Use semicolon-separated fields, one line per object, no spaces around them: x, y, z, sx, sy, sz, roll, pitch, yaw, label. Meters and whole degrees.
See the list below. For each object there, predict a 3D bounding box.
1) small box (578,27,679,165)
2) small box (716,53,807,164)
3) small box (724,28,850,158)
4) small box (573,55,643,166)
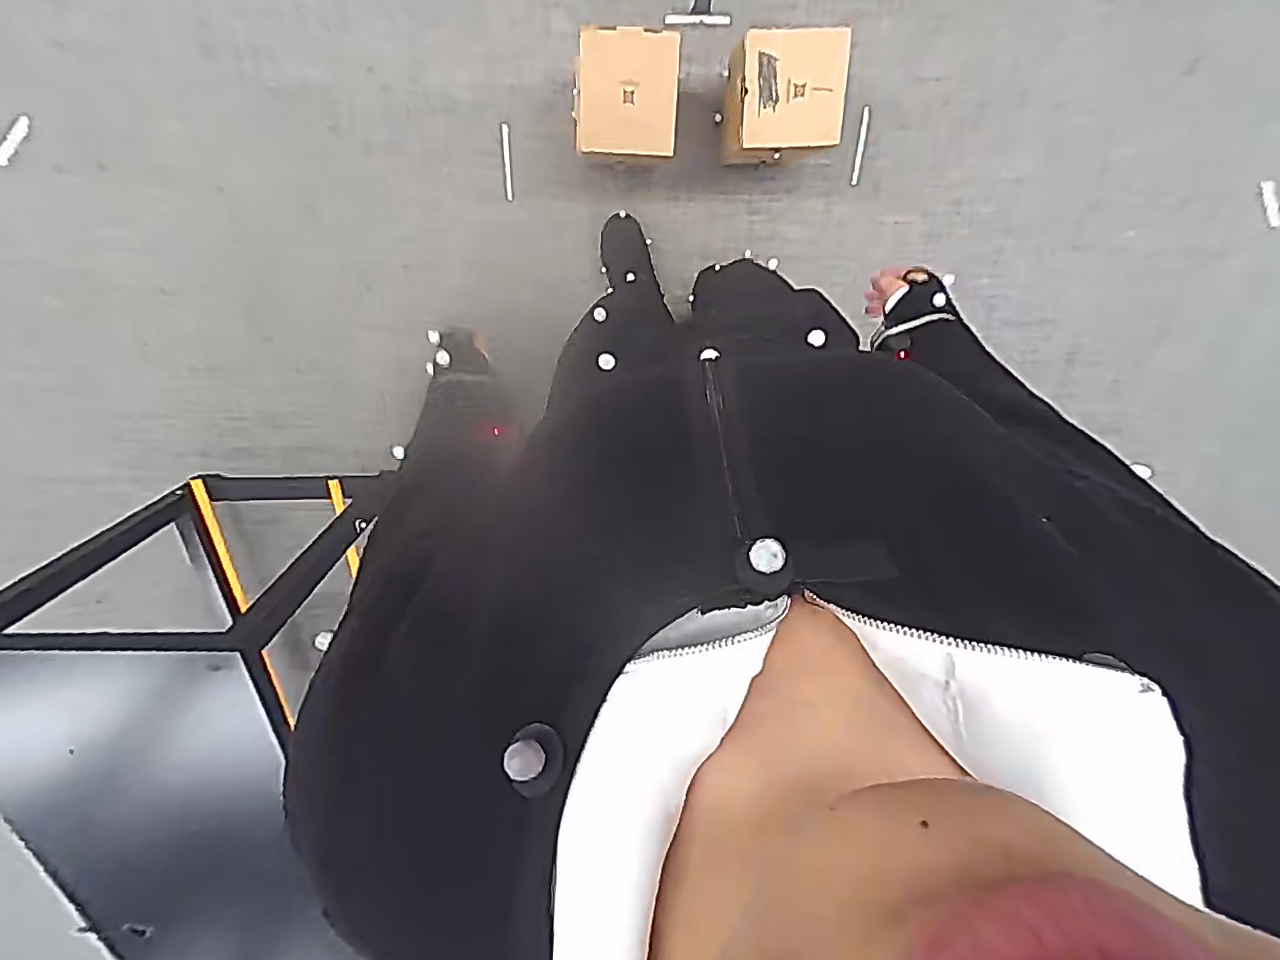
-0.024;-0.676;0.971;0.168;0.176;0.179;2;117;-1;small box
0.253;-0.760;1.121;0.168;0.176;0.179;-2;117;-1;small box
0.251;-0.684;0.974;0.179;0.176;0.168;-2;116;-1;small box
-0.045;-0.752;1.114;0.179;0.176;0.168;1;116;-2;small box
